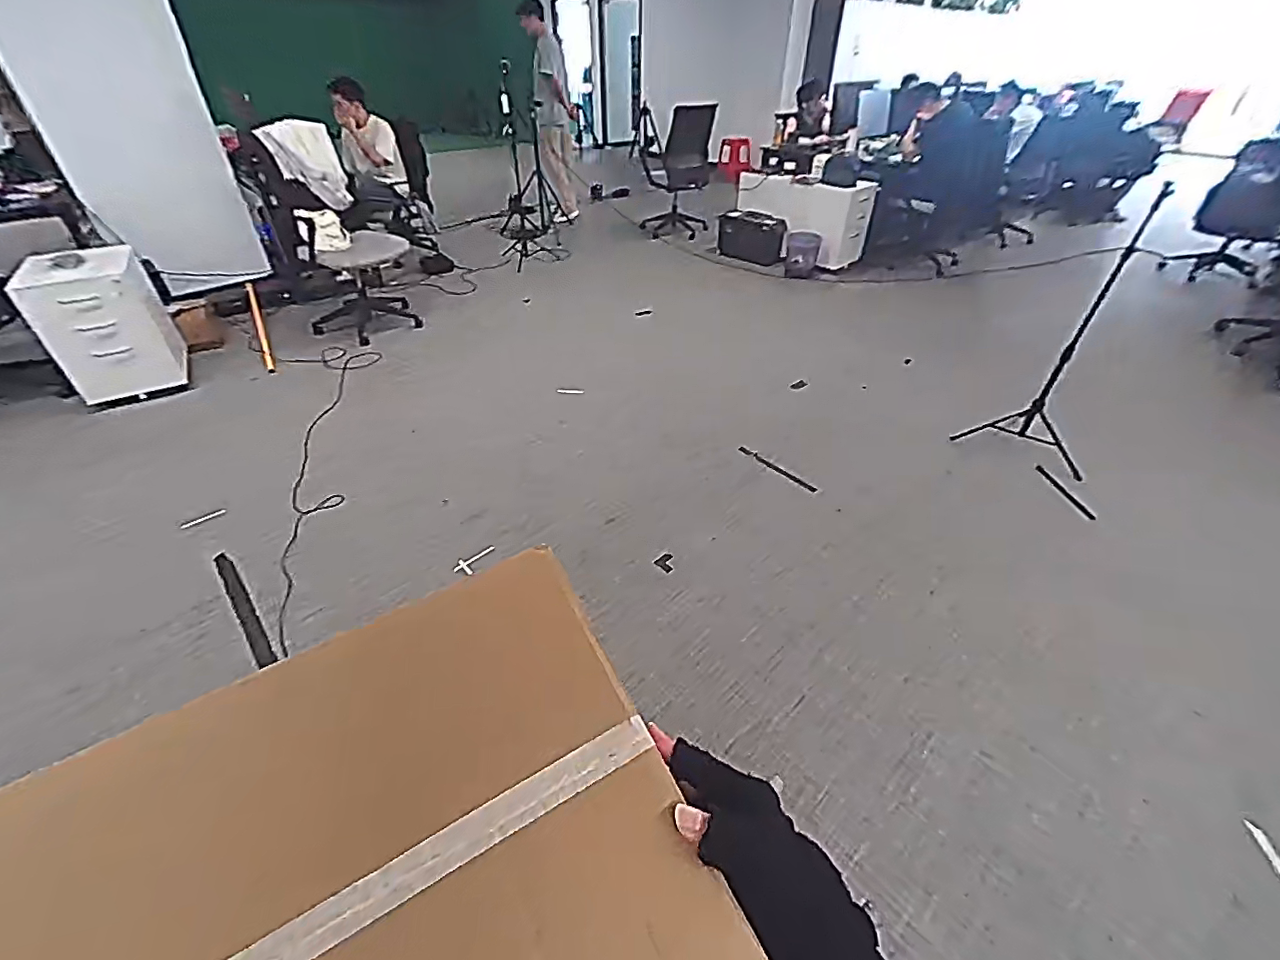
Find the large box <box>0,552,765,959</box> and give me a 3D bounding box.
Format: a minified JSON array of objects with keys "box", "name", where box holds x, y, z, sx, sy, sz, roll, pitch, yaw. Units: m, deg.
[{"box":[-0.176,0.328,0.414,0.408,0.320,0.320,-24,60,-18],"name":"large box"}]
